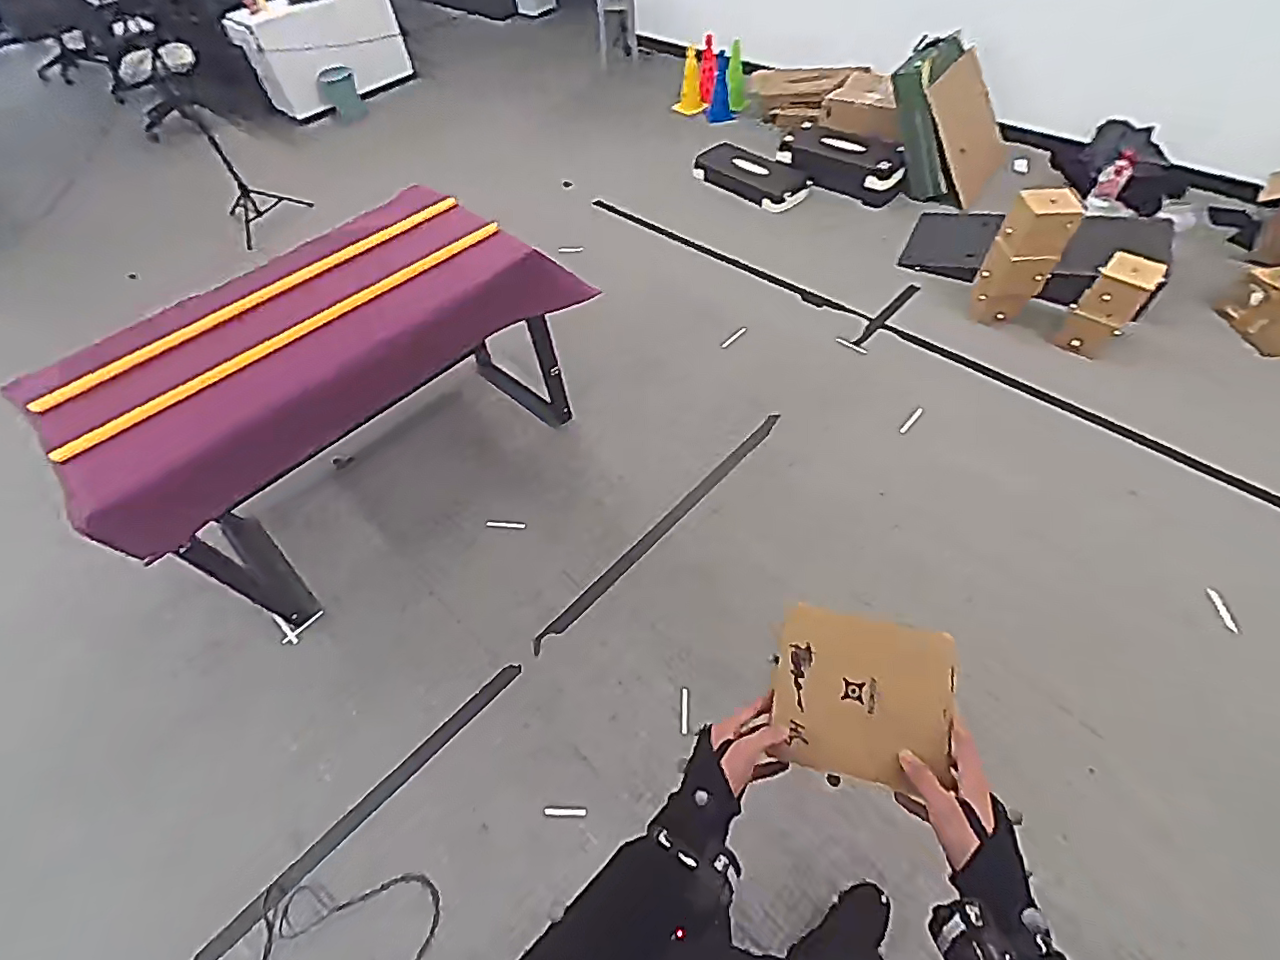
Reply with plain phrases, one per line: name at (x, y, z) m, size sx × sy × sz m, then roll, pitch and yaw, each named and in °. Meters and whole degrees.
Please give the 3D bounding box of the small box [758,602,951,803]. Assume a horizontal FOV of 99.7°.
small box at (0.240, 0.253, 0.635) m, size 0.179 × 0.176 × 0.168 m, roll 8°, pitch 69°, yaw 13°
